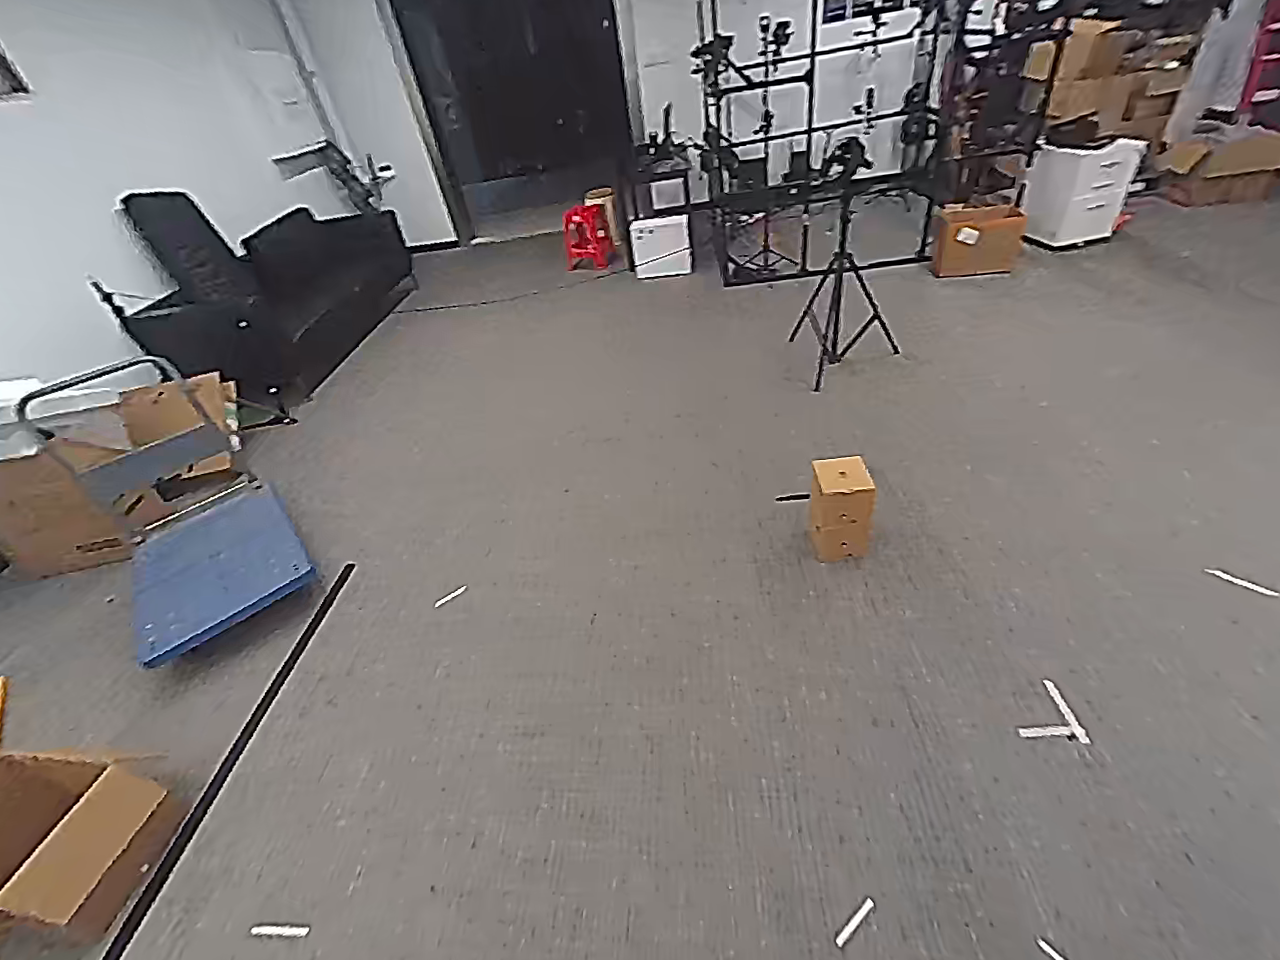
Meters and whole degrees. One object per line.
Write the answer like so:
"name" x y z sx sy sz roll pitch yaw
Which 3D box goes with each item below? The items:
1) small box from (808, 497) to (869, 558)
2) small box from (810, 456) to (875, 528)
"small box" 0.709 0.167 1.950 0.168 0.176 0.179 -7 38 4
"small box" 0.684 0.041 1.850 0.168 0.176 0.179 -7 39 5
